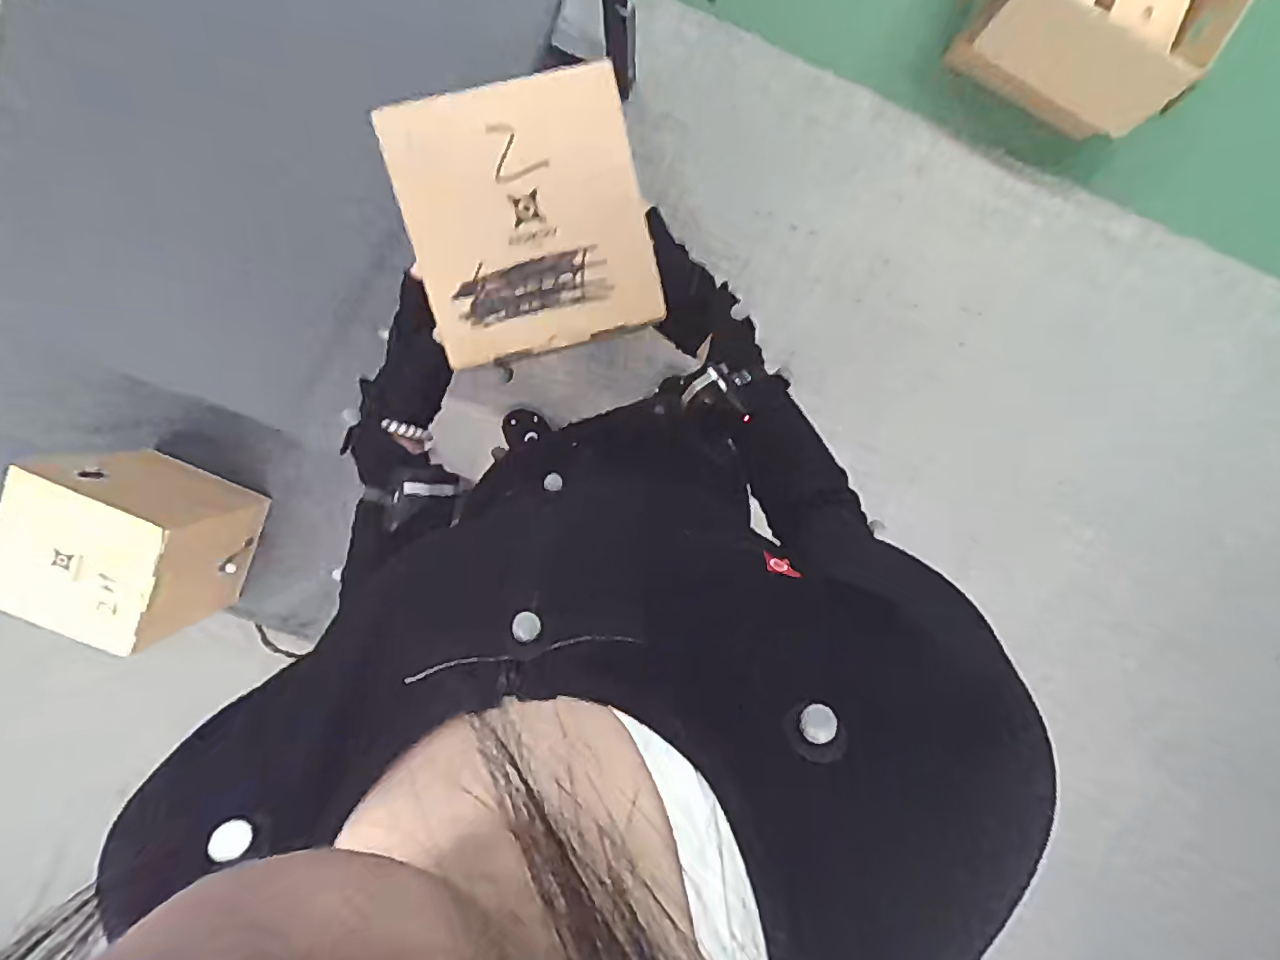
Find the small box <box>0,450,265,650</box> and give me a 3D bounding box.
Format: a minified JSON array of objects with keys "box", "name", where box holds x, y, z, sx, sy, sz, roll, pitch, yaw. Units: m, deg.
[{"box":[-0.619,0.071,0.662,0.179,0.176,0.168,24,99,-4],"name":"small box"}]
